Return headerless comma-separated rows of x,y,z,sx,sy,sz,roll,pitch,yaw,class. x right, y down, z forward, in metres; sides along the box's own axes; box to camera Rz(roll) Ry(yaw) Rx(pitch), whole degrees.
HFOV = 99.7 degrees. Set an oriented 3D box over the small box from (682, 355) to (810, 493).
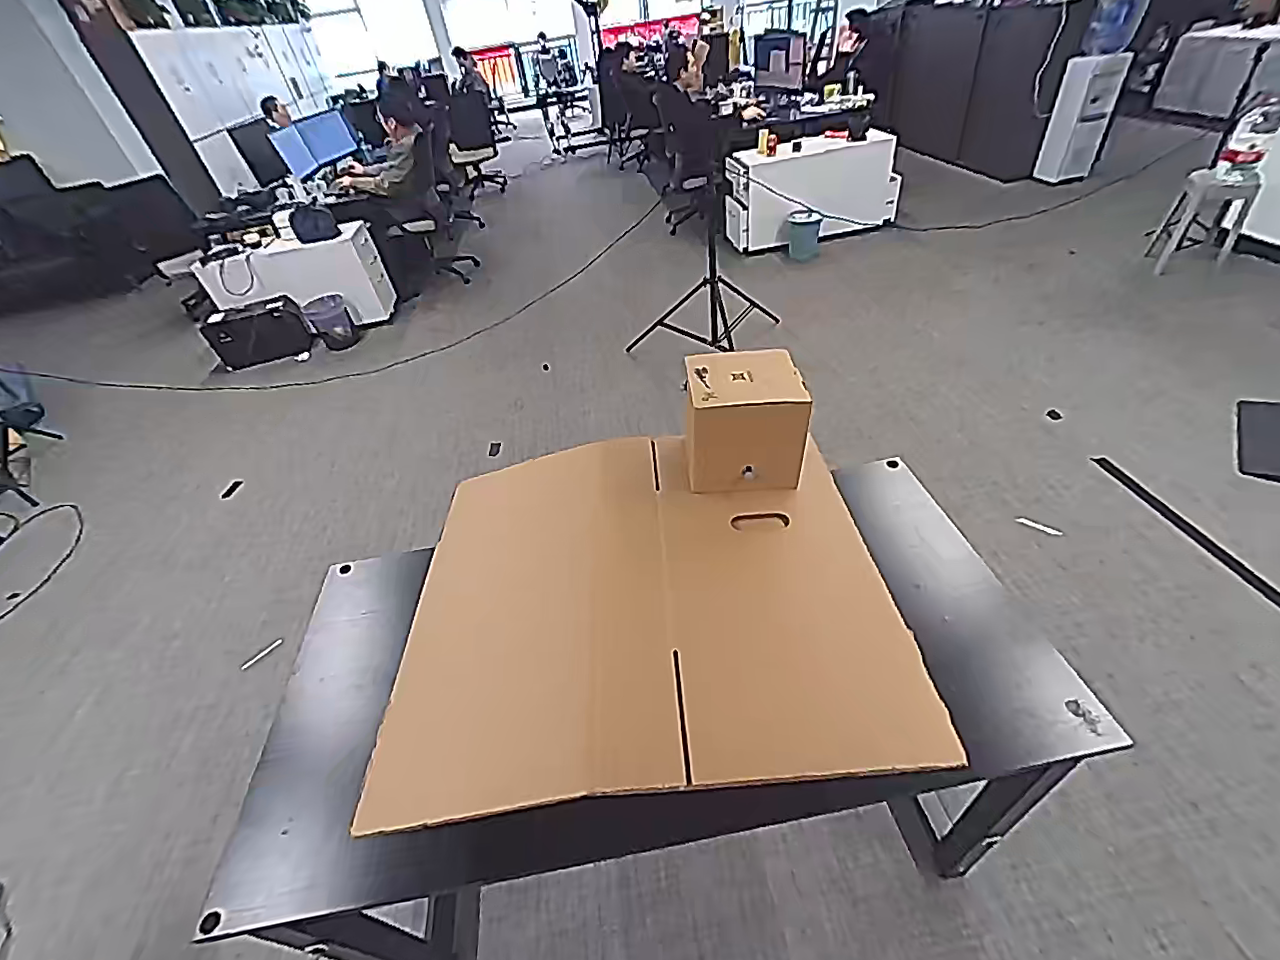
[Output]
0.165,-0.093,0.903,0.179,0.176,0.168,-3,39,0,small box
